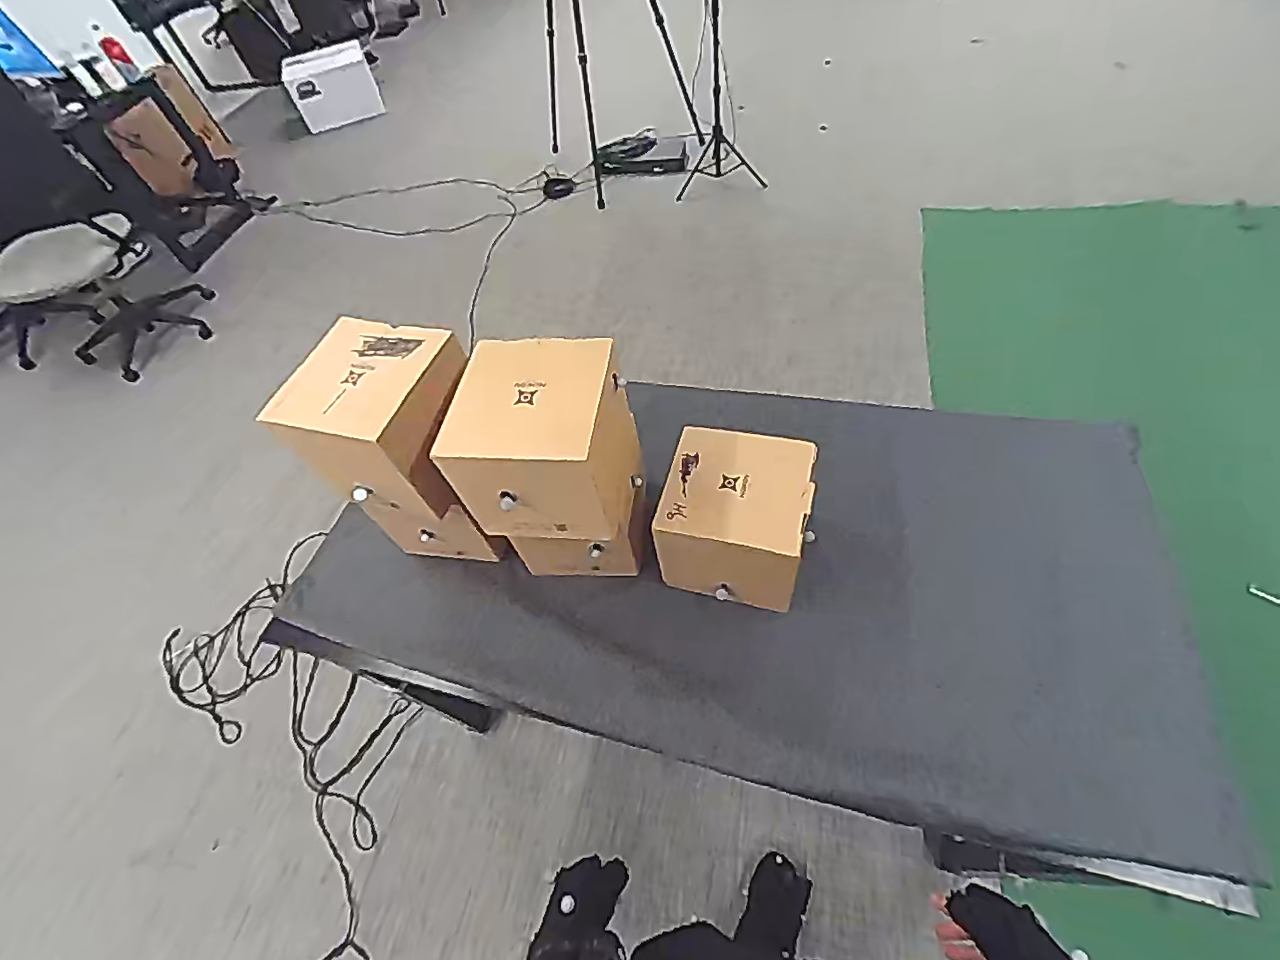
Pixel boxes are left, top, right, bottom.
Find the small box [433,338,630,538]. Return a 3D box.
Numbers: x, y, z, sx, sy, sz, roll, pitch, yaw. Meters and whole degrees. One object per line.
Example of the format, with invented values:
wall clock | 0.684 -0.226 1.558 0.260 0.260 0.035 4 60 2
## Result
small box | -0.110 -0.044 0.639 0.168 0.176 0.179 2 55 9
